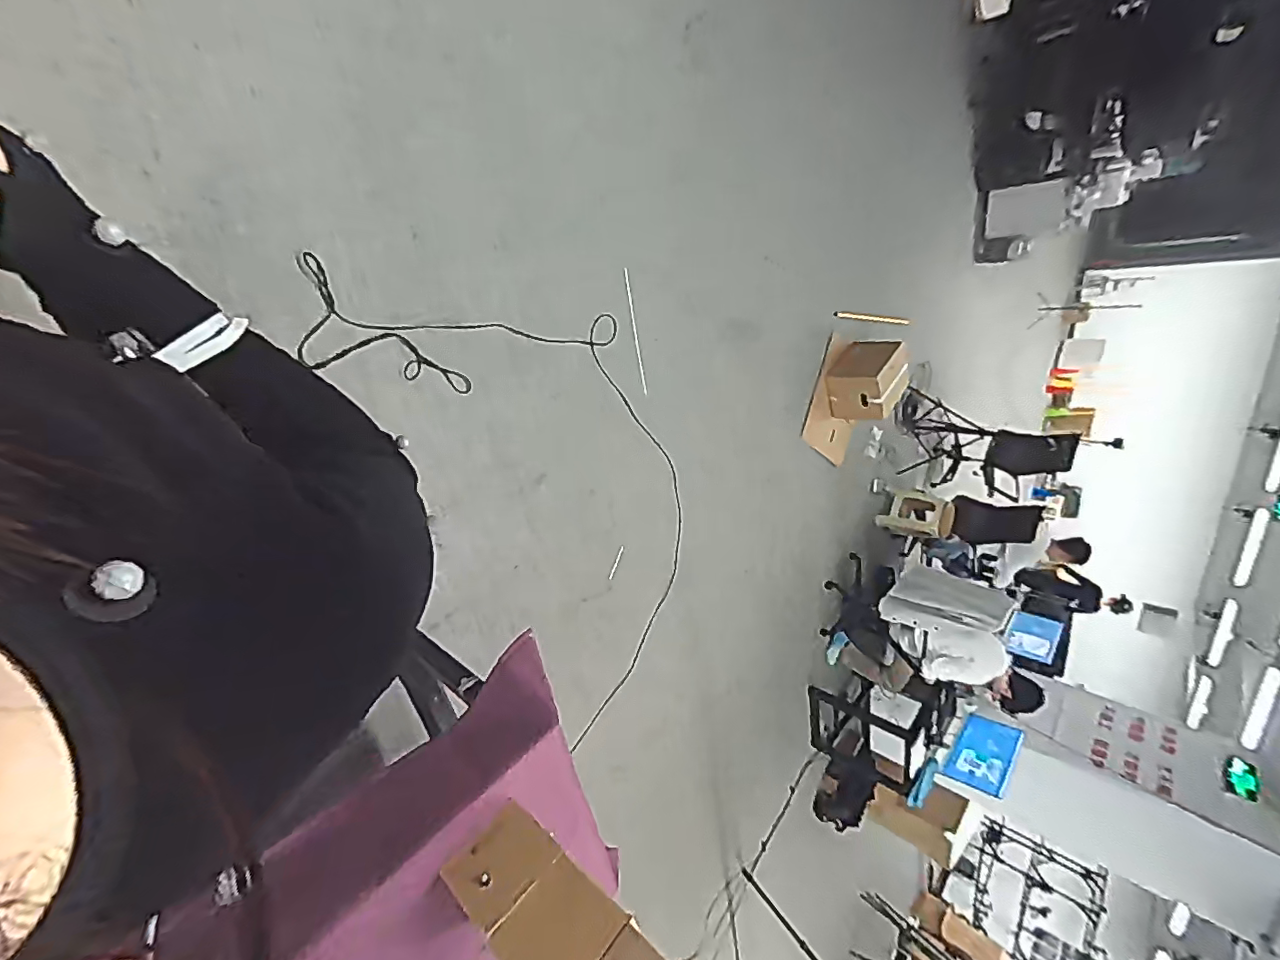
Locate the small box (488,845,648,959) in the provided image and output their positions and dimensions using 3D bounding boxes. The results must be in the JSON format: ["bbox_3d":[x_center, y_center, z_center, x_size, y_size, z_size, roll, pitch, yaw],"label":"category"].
[{"bbox_3d":[-0.117,0.762,0.897,0.179,0.176,0.168,-36,124,-34],"label":"small box"}]

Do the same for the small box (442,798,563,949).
[{"bbox_3d":[-0.238,0.734,1.002,0.168,0.176,0.179,-34,124,-36],"label":"small box"}]
